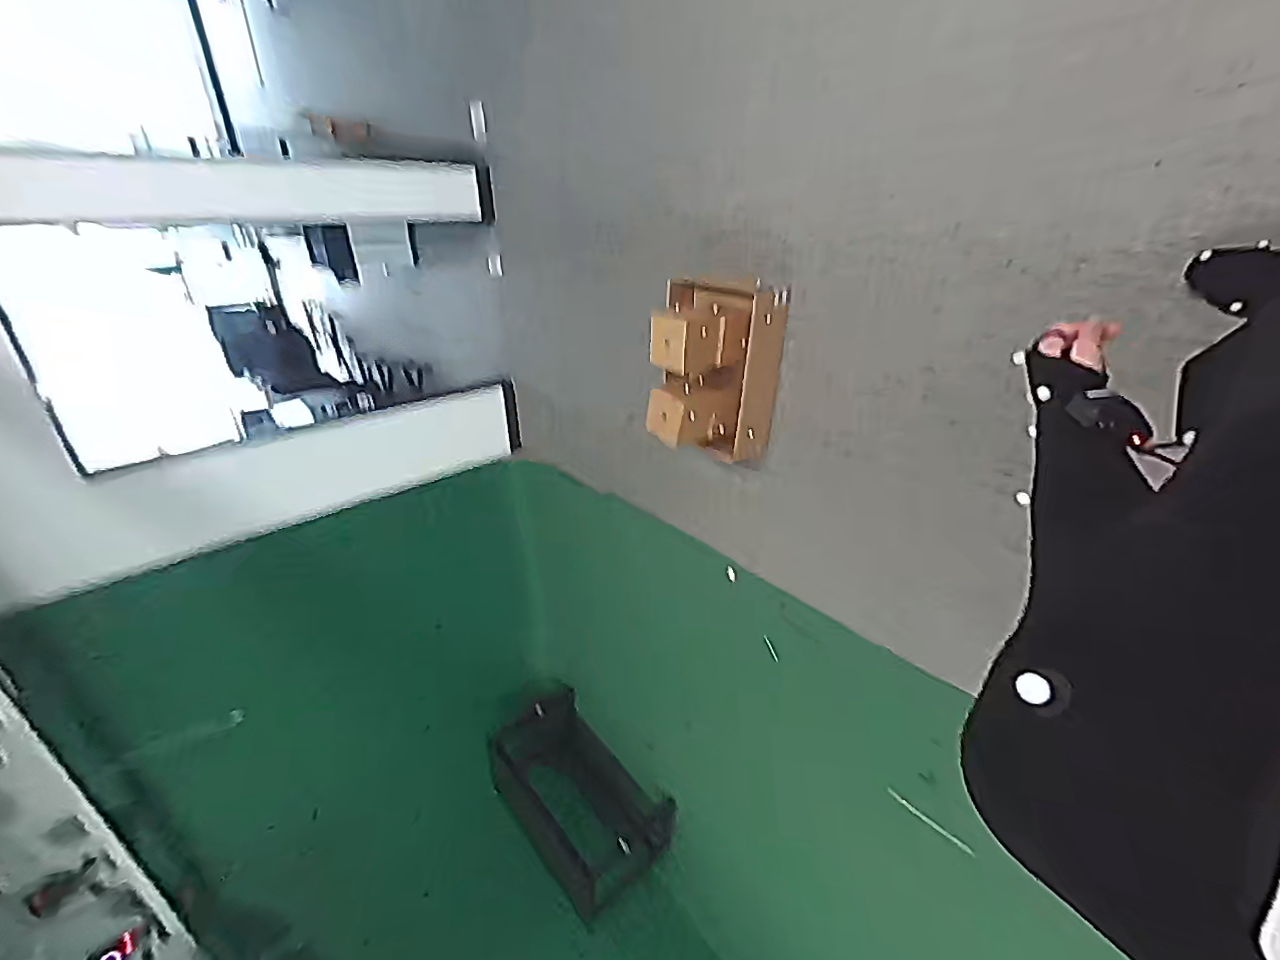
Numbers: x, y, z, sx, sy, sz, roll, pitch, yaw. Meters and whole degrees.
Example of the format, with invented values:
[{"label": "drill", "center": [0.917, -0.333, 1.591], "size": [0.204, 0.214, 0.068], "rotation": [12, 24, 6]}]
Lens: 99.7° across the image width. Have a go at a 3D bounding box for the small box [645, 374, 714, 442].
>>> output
[{"label": "small box", "center": [0.144, -0.265, 1.949], "size": [0.168, 0.176, 0.179], "rotation": [39, 134, 34]}]
